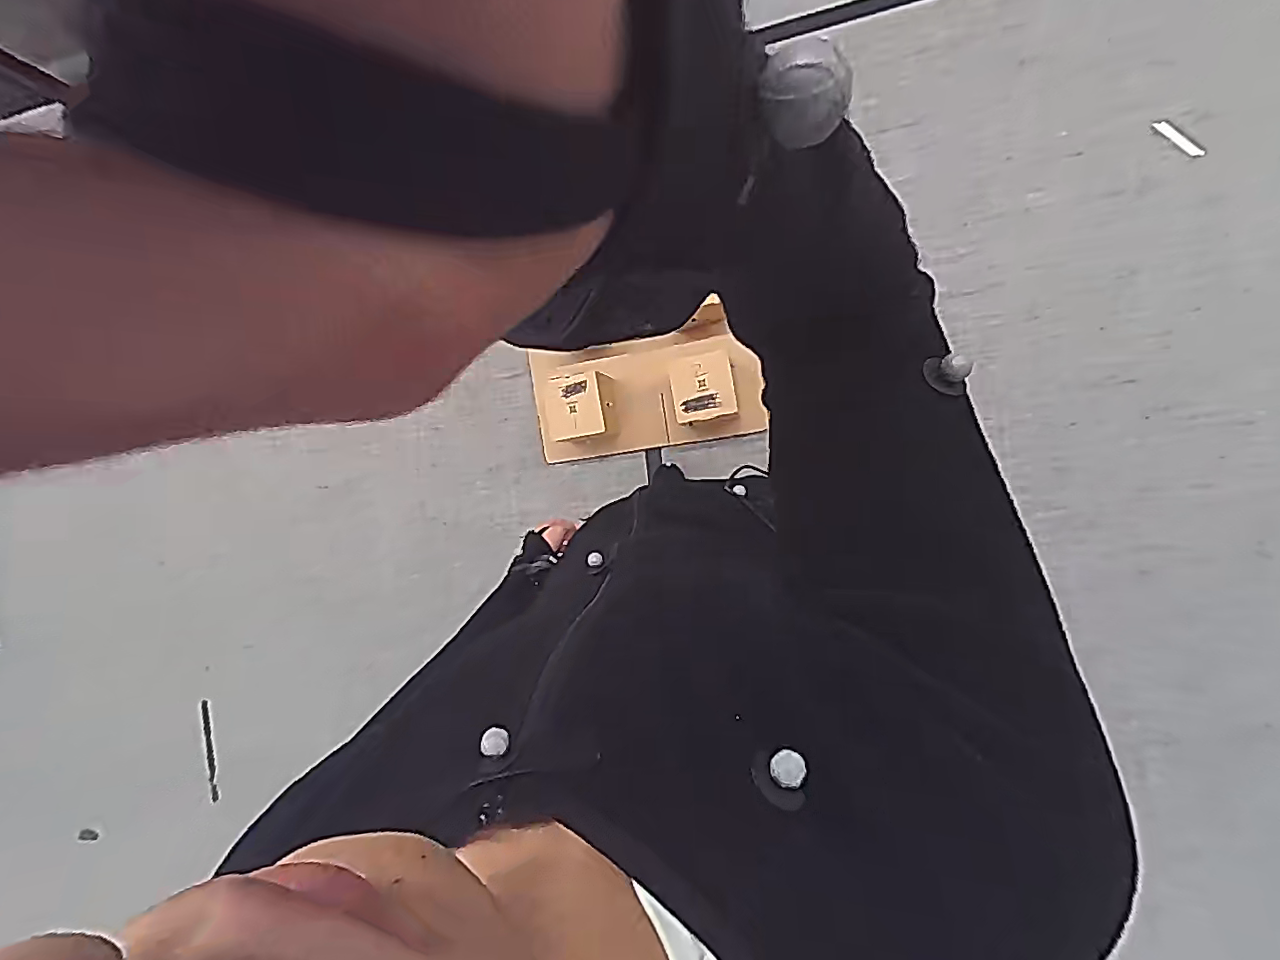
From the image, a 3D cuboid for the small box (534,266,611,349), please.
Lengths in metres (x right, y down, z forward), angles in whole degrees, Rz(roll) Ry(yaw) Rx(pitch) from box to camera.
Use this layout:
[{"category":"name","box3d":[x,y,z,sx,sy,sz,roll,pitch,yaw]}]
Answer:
[{"category":"small box","box3d":[-0.192,-0.495,1.575,0.168,0.176,0.179,-8,91,13]}]

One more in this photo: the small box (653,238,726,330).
[{"category":"small box","box3d":[0.142,-0.538,1.506,0.168,0.176,0.179,-12,90,13]}]

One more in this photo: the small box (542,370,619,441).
[{"category":"small box","box3d":[-0.169,-0.211,1.586,0.168,0.176,0.179,-9,92,13]}]
